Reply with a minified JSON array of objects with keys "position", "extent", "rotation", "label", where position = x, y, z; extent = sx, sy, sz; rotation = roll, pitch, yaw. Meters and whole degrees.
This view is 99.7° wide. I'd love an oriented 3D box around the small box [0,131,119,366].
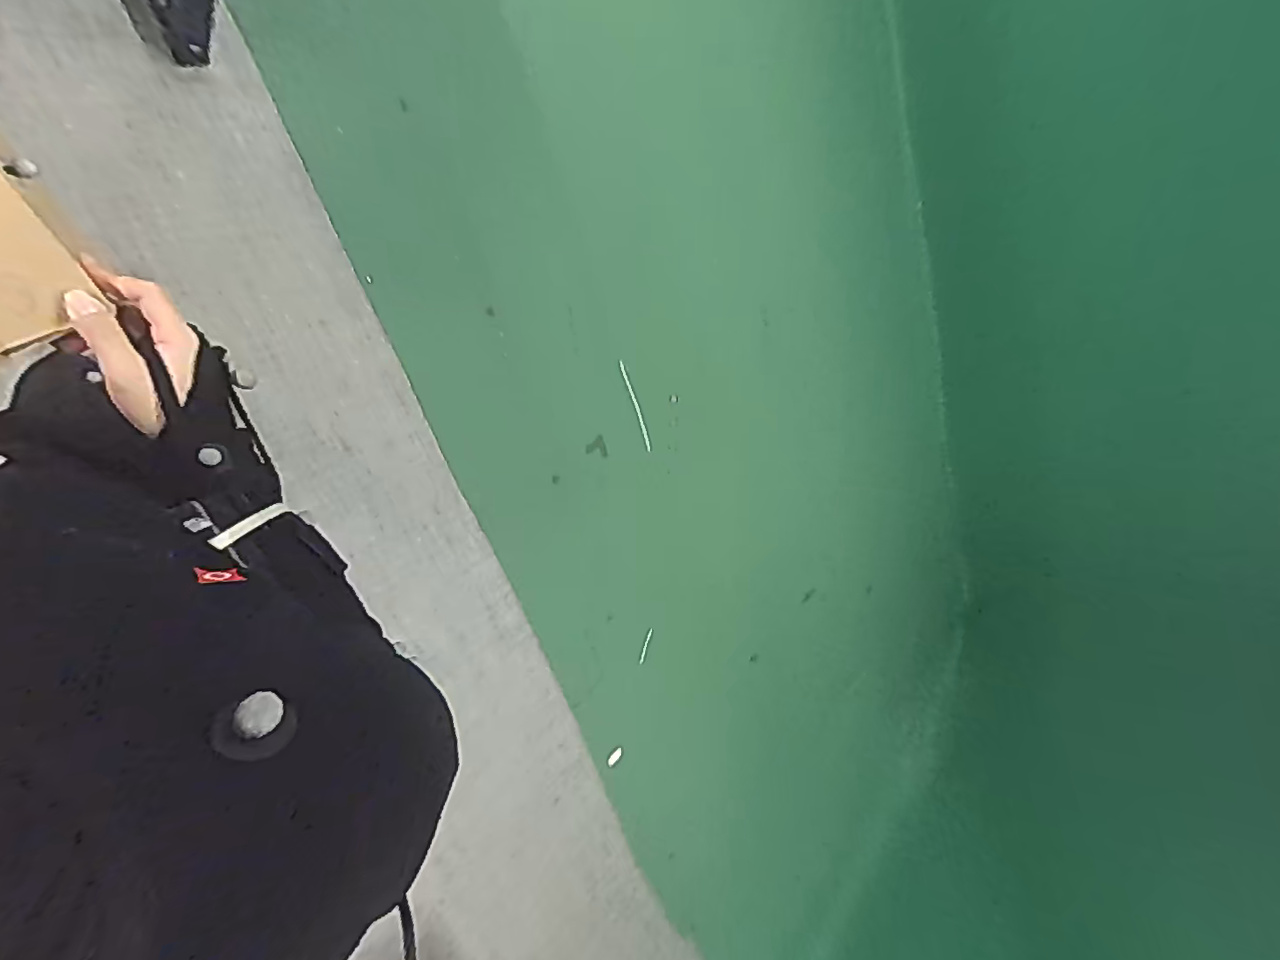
[{"position":[-0.456,-0.155,0.311],"extent":[0.168,0.176,0.179],"rotation":[-36,132,-26],"label":"small box"}]
